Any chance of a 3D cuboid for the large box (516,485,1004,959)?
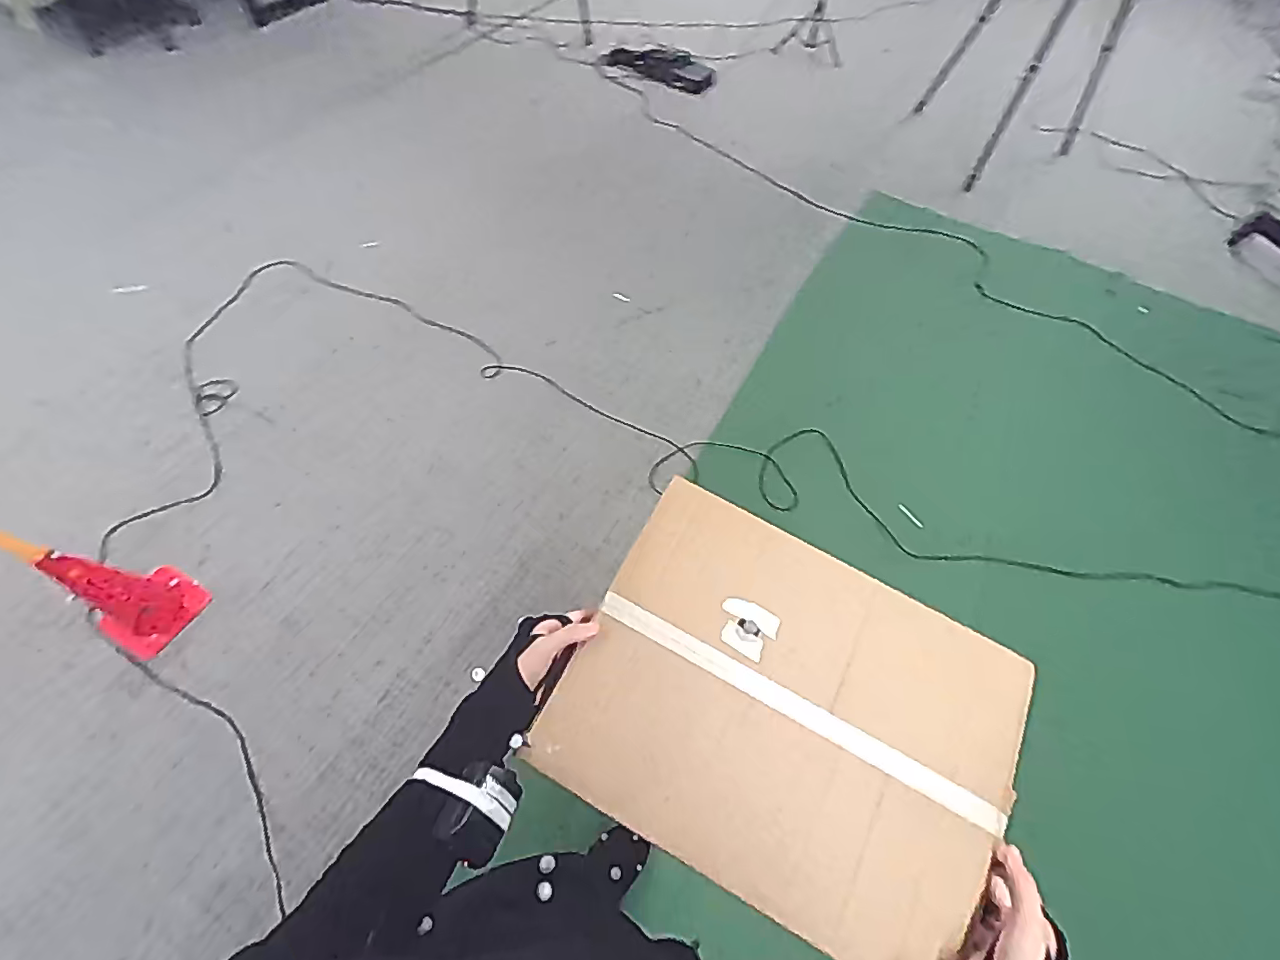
[{"bbox_3d":[0.124,0.268,0.663,0.408,0.320,0.320,27,69,8],"label":"large box"}]
